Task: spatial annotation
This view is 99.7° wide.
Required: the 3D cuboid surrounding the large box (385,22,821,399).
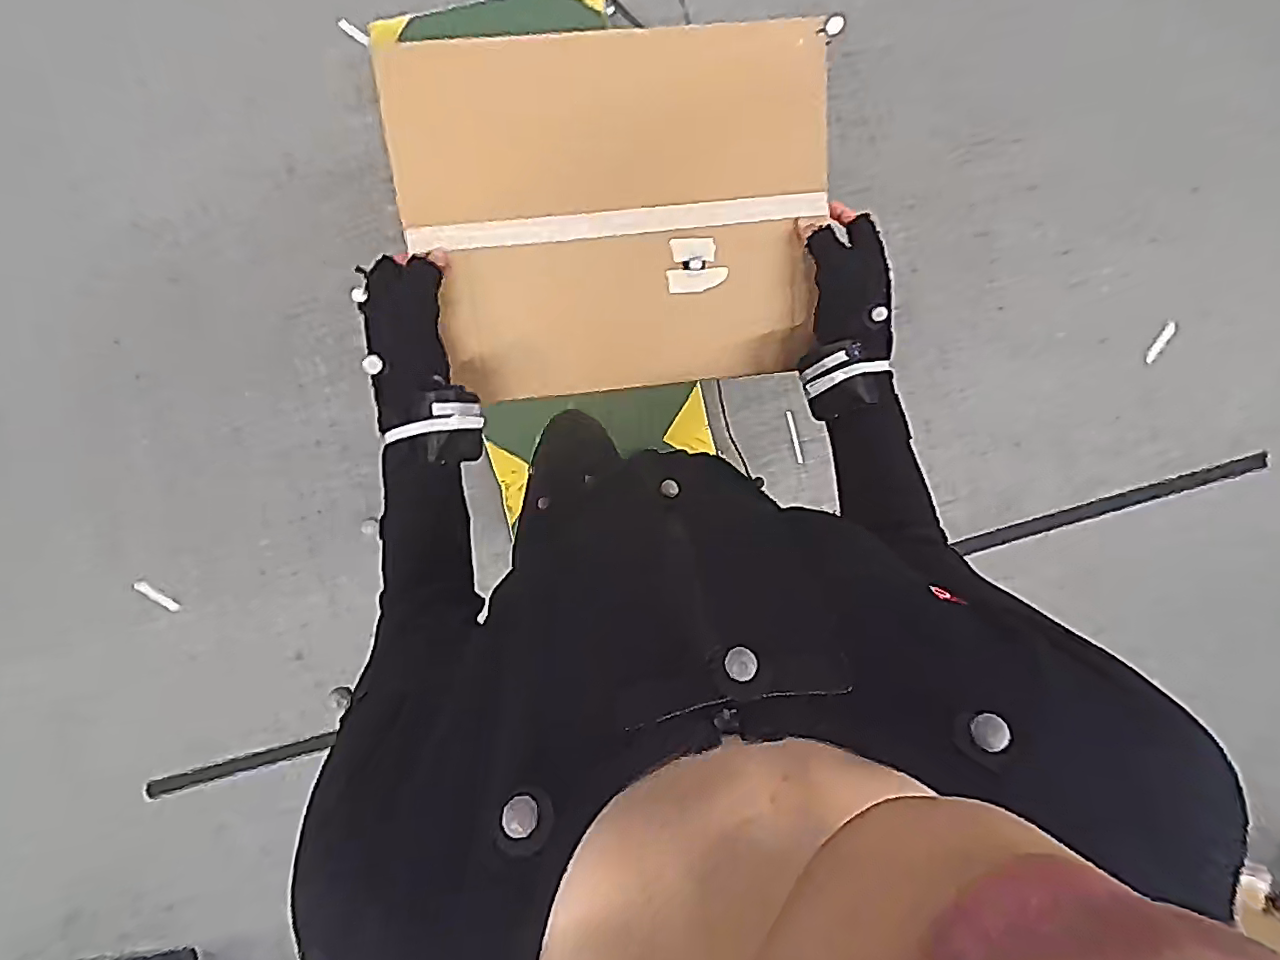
[{"bbox_3d":[-0.034,-0.292,0.676,0.408,0.320,0.320,-7,105,-4],"label":"large box"}]
